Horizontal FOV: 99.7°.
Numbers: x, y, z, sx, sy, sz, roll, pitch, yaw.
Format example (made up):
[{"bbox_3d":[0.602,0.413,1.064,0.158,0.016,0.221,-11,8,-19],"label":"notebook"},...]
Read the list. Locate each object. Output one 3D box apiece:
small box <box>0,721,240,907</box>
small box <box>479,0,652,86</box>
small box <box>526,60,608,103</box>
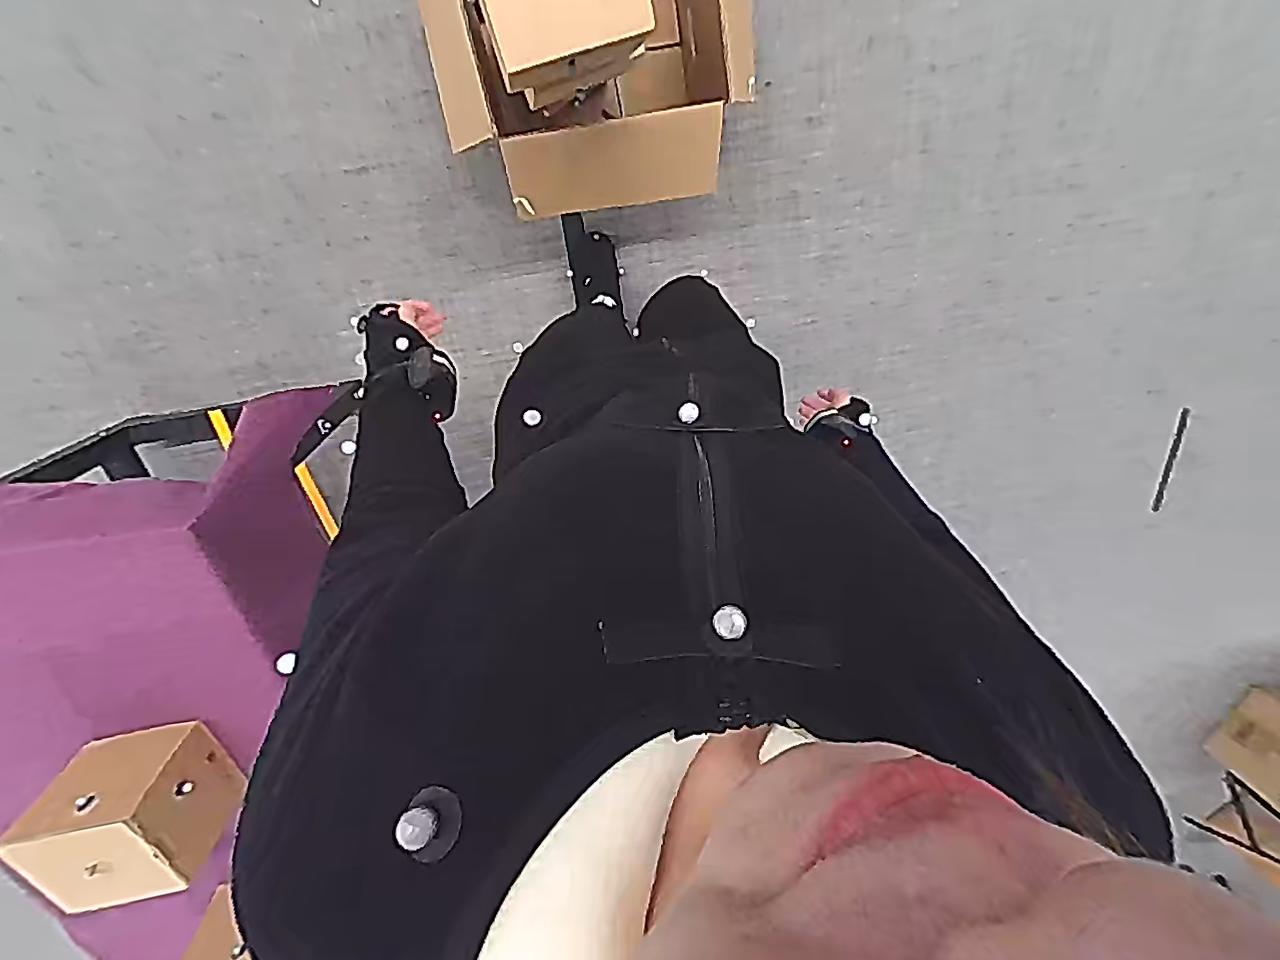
[{"bbox_3d":[-0.753,0.493,0.816,0.179,0.176,0.168,-10,117,-2],"label":"small box"},{"bbox_3d":[-0.102,-0.576,0.616,0.179,0.176,0.168,-19,122,-2],"label":"small box"},{"bbox_3d":[-0.139,-0.758,0.890,0.179,0.176,0.168,-31,120,4],"label":"small box"}]
